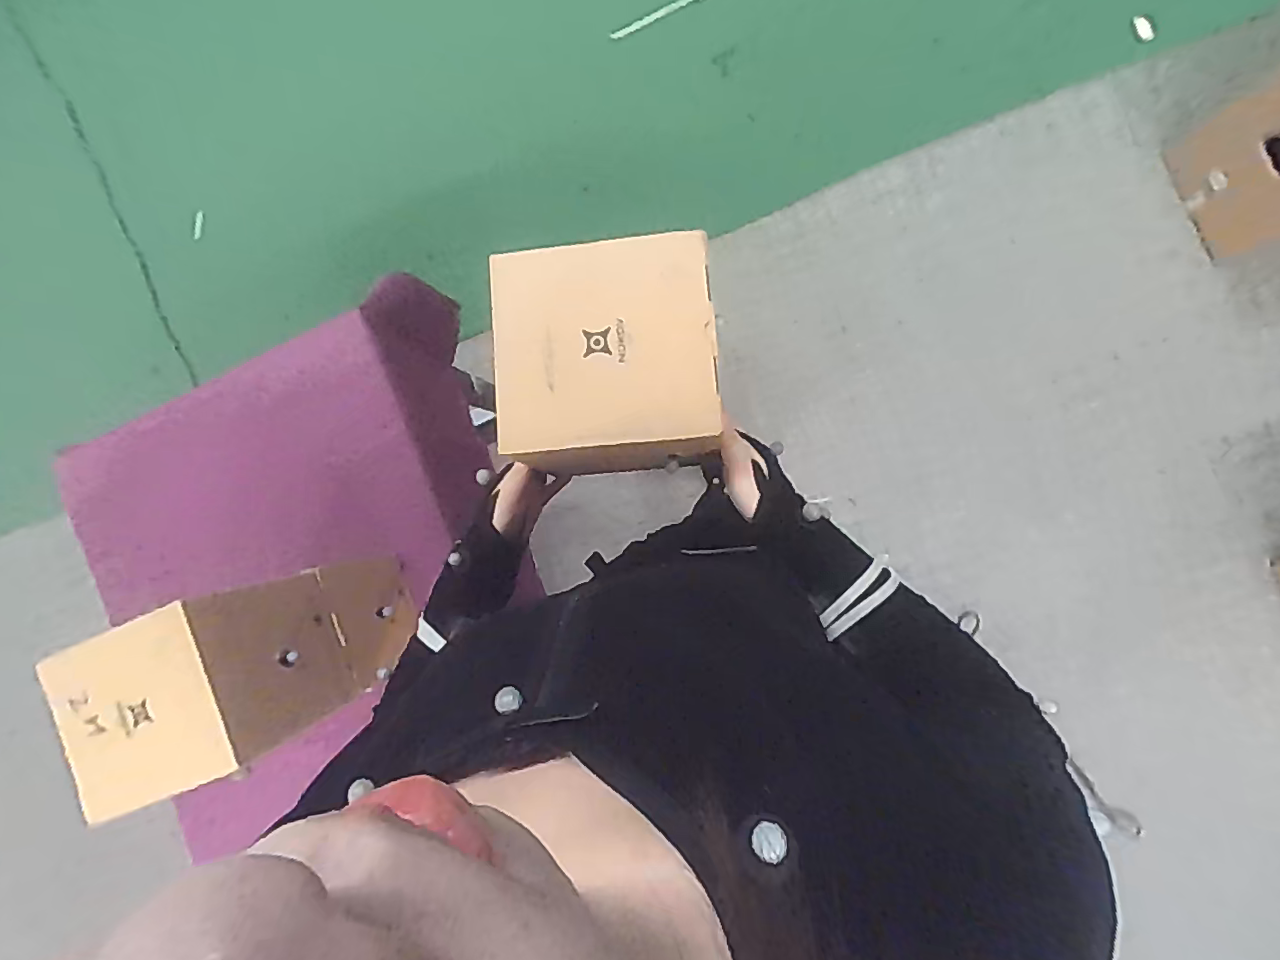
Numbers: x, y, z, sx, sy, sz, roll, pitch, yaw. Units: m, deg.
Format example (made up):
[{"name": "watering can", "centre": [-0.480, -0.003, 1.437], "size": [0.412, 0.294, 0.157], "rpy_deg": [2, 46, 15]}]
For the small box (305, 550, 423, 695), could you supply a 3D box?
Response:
[{"name": "small box", "centre": [-0.431, 0.208, 0.753], "size": [0.179, 0.176, 0.168], "rpy_deg": [-22, 87, 7]}]

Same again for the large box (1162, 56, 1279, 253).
[{"name": "large box", "centre": [1.501, -0.763, 1.158], "size": [0.408, 0.320, 0.320], "rpy_deg": [-22, 87, 6]}]

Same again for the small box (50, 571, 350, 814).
[{"name": "small box", "centre": [-0.452, 0.212, 0.589], "size": [0.179, 0.176, 0.168], "rpy_deg": [-23, 87, 8]}]

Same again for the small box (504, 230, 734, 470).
[{"name": "small box", "centre": [-0.012, -0.102, 0.500], "size": [0.179, 0.176, 0.168], "rpy_deg": [-4, 84, 6]}]
